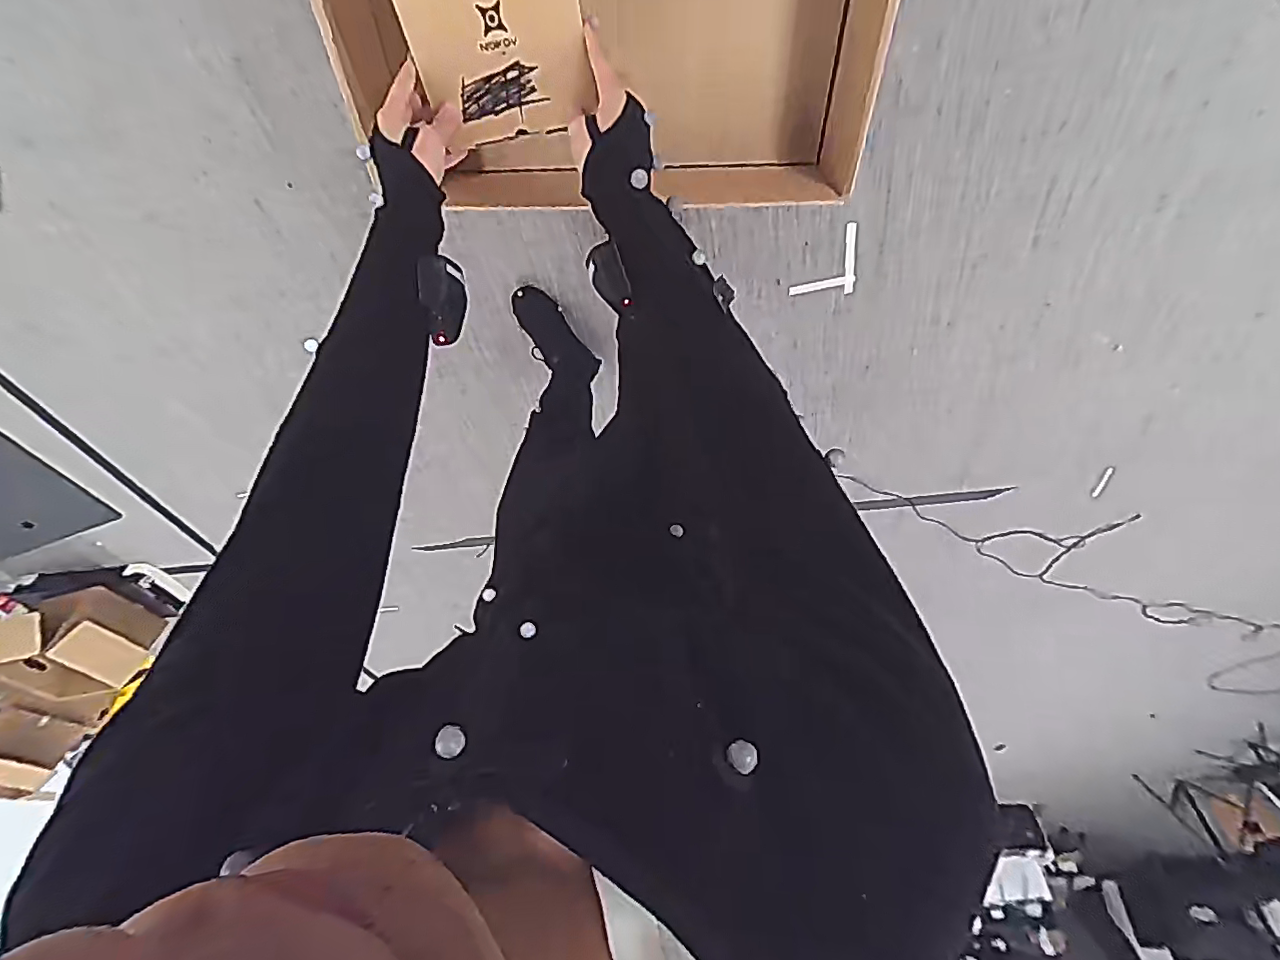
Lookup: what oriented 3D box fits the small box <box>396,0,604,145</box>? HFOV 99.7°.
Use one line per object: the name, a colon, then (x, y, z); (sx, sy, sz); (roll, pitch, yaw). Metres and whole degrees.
small box: (-0.133, -0.474, 0.551); (0.168, 0.176, 0.179); (-6, 135, 6)
